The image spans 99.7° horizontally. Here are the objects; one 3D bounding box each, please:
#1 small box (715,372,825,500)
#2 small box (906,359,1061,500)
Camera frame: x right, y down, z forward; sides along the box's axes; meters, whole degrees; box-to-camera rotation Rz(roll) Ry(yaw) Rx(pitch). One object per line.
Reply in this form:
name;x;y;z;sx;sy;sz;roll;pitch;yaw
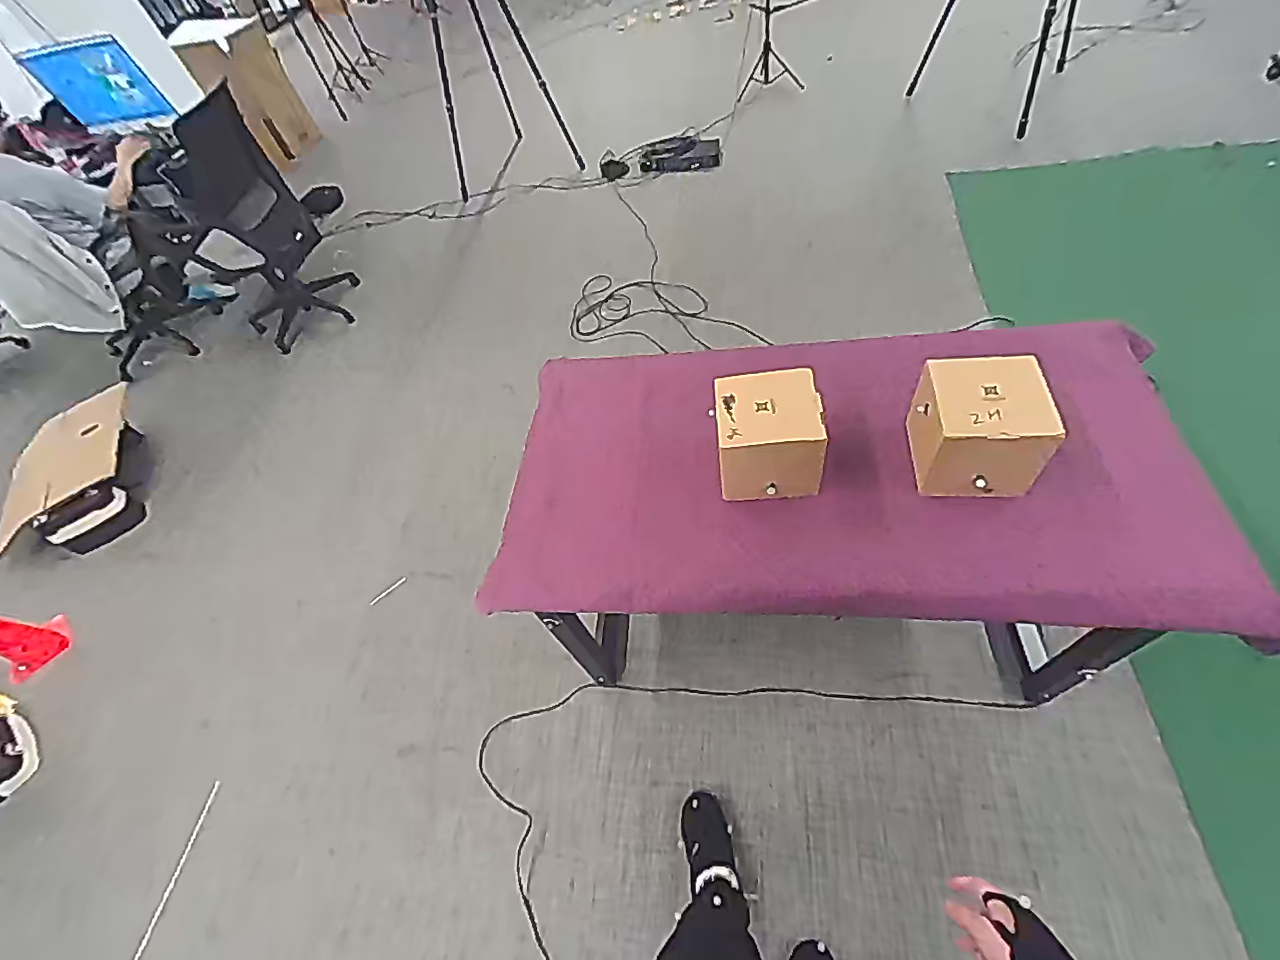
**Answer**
small box;0.230;-0.076;0.994;0.179;0.176;0.168;-4;54;9
small box;0.569;-0.085;0.926;0.168;0.176;0.179;1;55;13
